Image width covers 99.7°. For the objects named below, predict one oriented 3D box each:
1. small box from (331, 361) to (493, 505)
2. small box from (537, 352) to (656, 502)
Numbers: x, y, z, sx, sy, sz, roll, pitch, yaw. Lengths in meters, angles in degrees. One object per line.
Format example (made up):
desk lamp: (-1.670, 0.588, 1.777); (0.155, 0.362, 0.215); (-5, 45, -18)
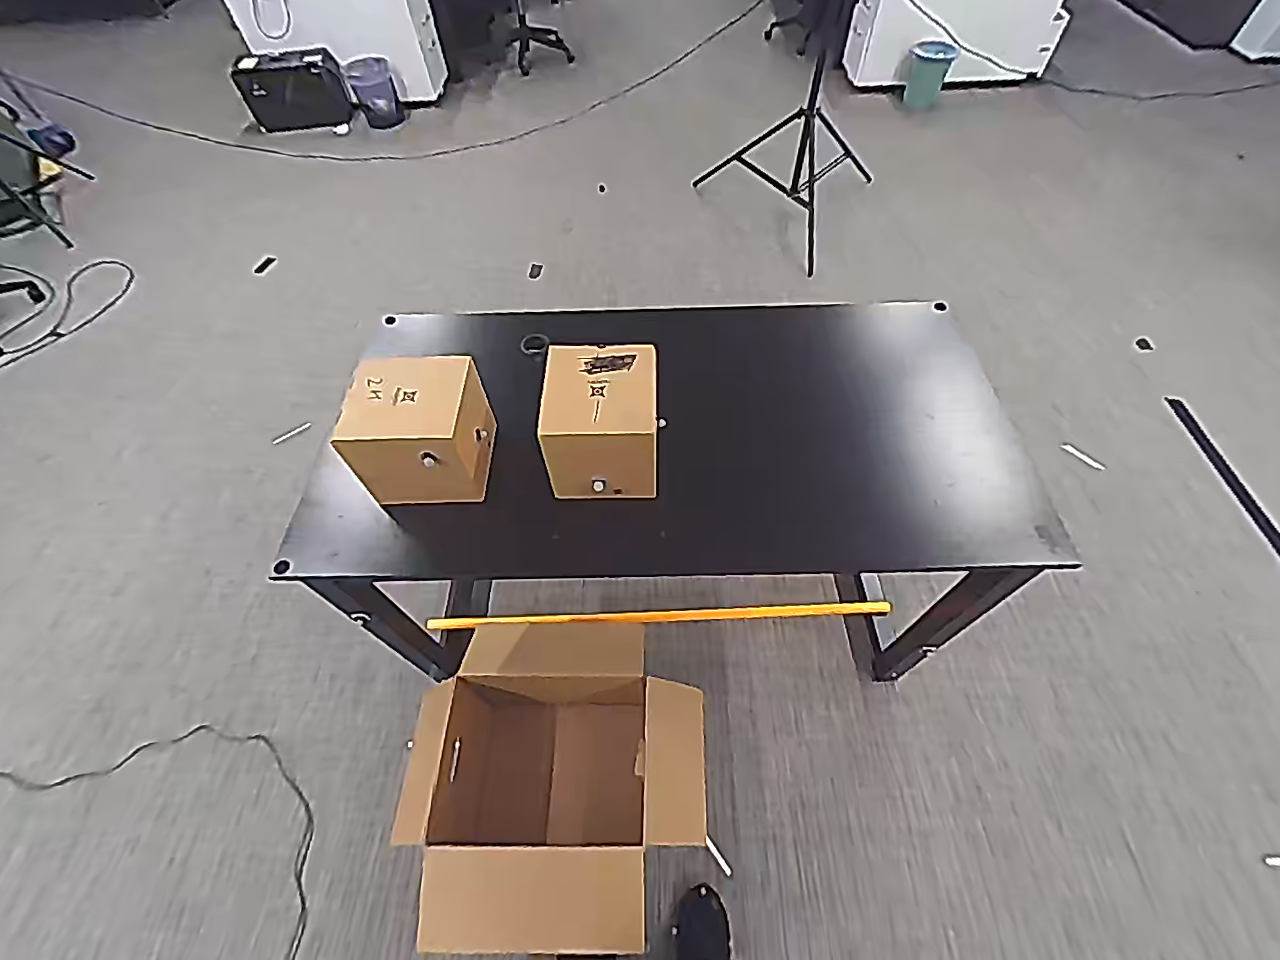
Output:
small box: (-0.345, -0.071, 0.864); (0.179, 0.176, 0.168); (-2, 55, 1)
small box: (-0.060, -0.083, 0.864); (0.168, 0.176, 0.179); (-1, 56, 2)
